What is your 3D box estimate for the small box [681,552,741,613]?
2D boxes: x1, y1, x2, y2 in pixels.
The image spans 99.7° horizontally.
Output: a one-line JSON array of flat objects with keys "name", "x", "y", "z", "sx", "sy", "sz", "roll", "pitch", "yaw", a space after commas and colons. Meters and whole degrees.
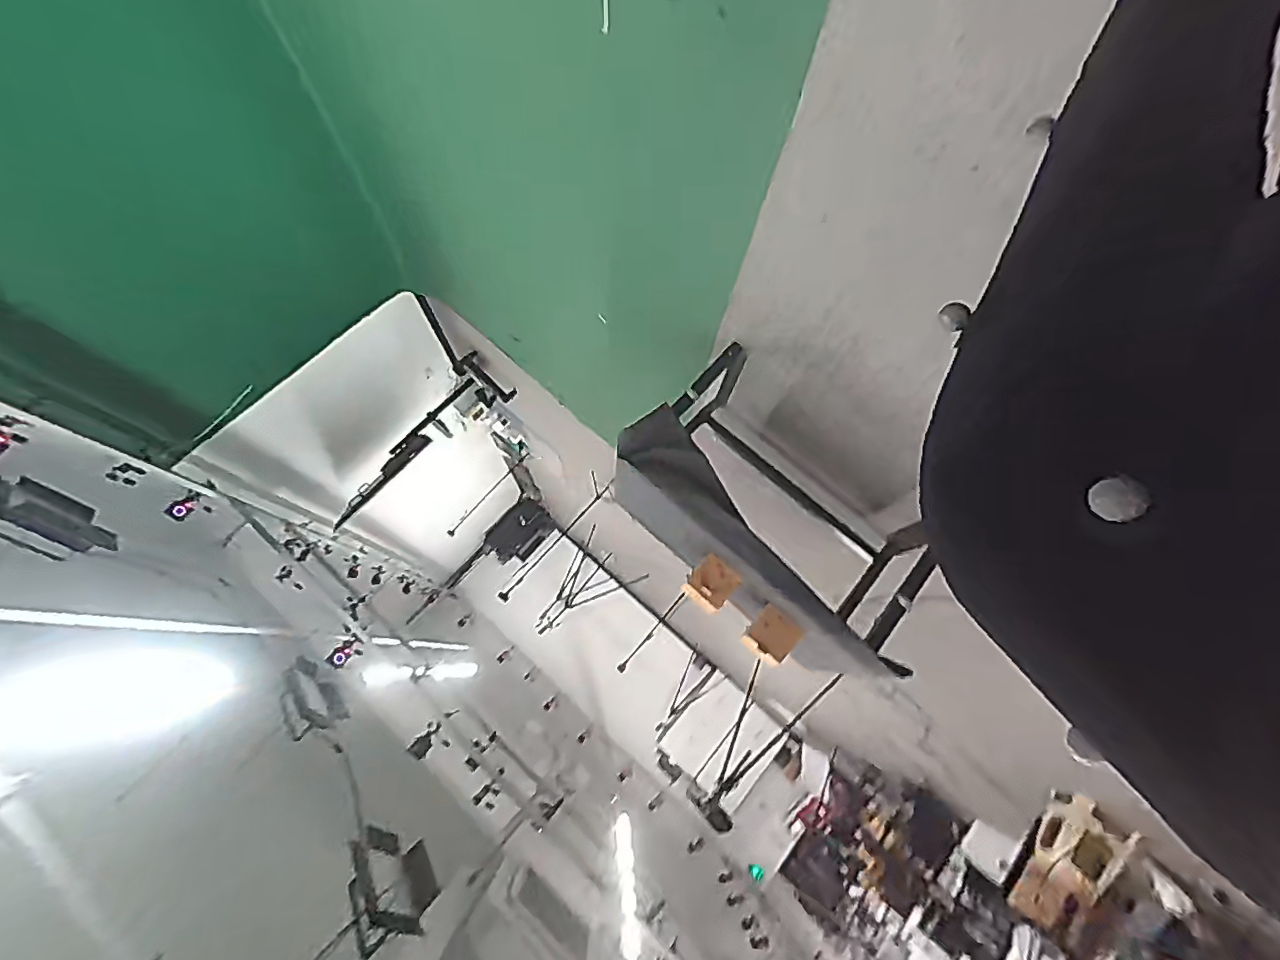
[{"name": "small box", "x": 0.291, "y": 0.420, "z": 2.208, "sx": 0.168, "sy": 0.176, "sz": 0.179, "roll": 41, "pitch": 164, "yaw": 10}]

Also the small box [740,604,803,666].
[{"name": "small box", "x": 0.523, "y": 0.613, "z": 2.146, "sx": 0.168, "sy": 0.176, "sz": 0.179, "roll": 40, "pitch": 165, "yaw": 16}]
